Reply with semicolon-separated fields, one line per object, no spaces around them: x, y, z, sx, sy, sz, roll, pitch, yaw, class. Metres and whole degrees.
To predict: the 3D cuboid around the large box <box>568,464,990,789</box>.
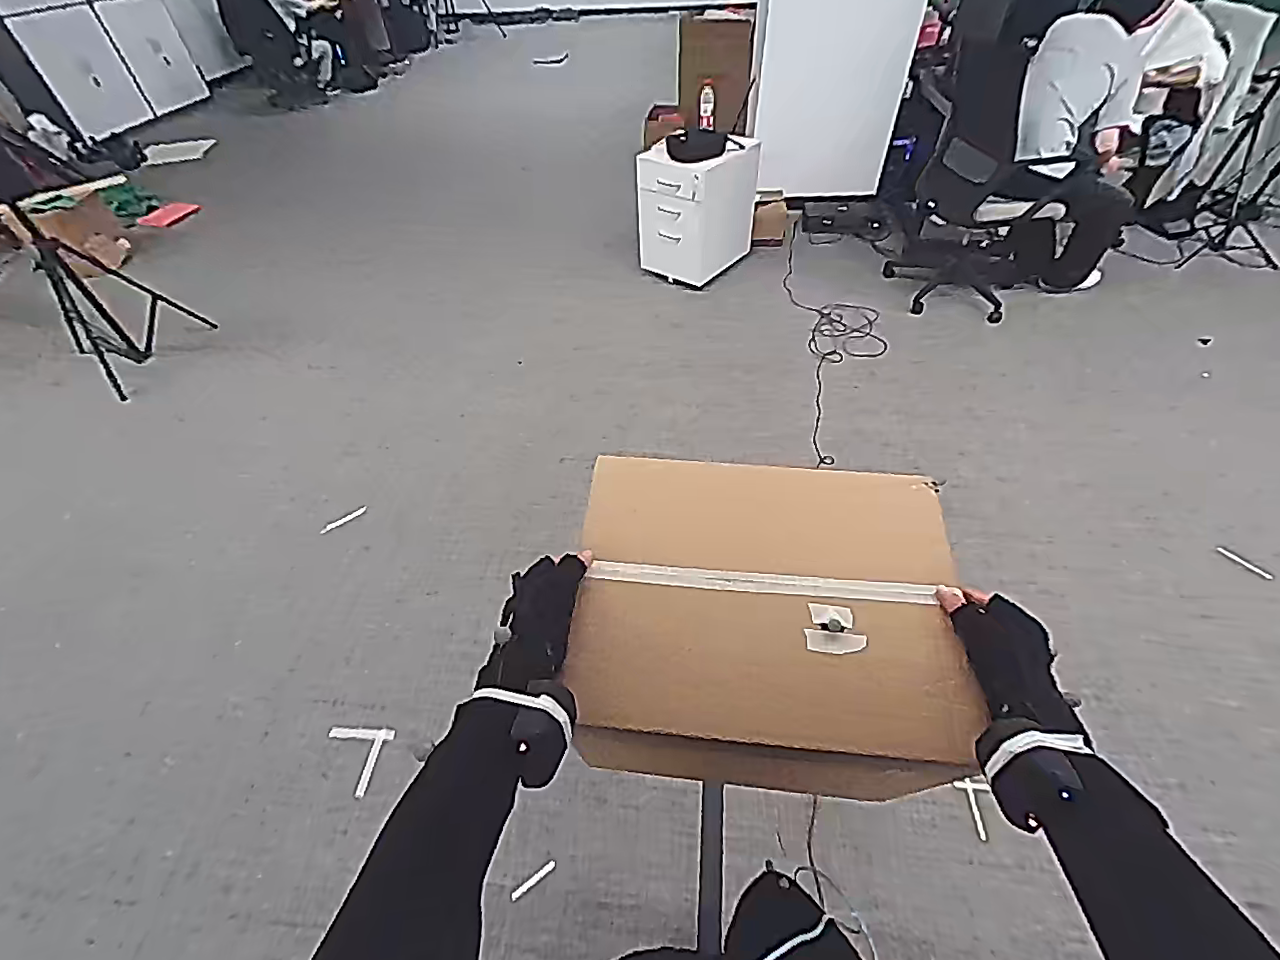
0.141;0.200;0.713;0.408;0.320;0.320;4;56;5;large box
